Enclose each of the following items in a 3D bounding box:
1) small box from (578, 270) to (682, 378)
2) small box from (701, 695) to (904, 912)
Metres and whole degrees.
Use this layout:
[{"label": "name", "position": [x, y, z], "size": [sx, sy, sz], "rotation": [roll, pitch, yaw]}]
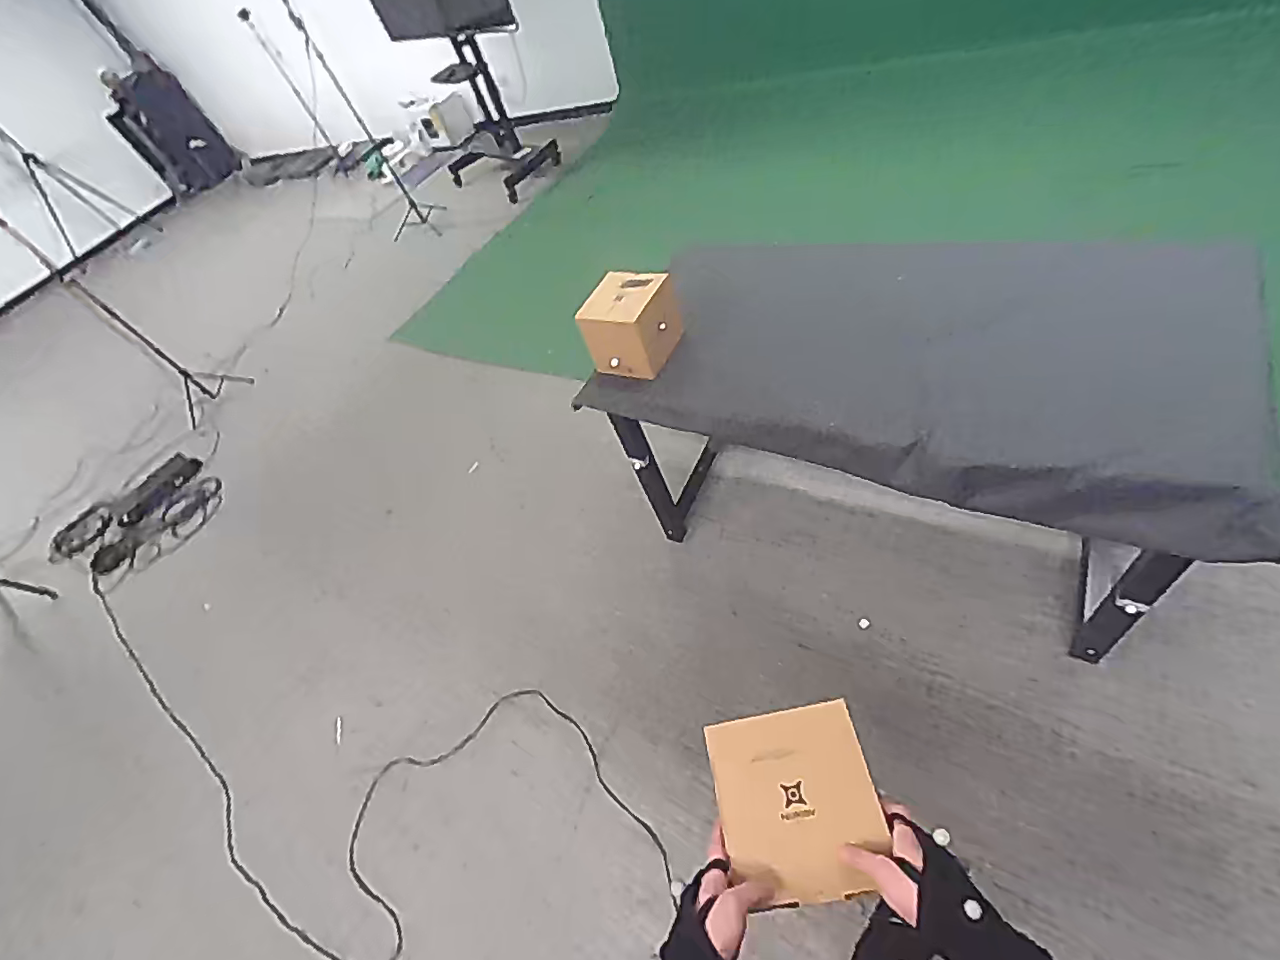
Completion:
[{"label": "small box", "position": [-0.013, -0.369, 1.274], "size": [0.168, 0.176, 0.179], "rotation": [14, 59, 29]}, {"label": "small box", "position": [0.177, 0.371, 0.618], "size": [0.168, 0.176, 0.179], "rotation": [-14, 50, 6]}]
